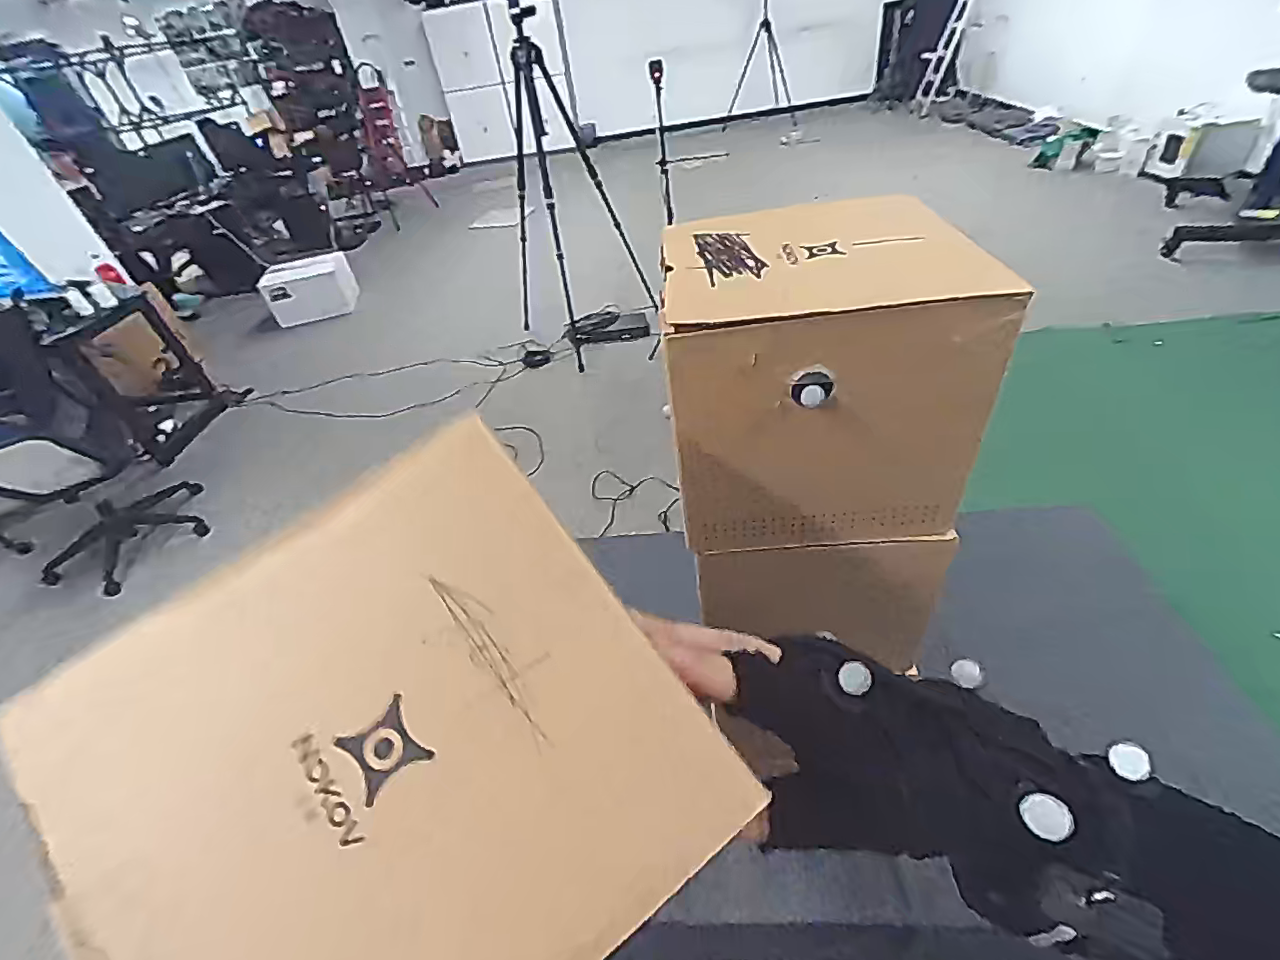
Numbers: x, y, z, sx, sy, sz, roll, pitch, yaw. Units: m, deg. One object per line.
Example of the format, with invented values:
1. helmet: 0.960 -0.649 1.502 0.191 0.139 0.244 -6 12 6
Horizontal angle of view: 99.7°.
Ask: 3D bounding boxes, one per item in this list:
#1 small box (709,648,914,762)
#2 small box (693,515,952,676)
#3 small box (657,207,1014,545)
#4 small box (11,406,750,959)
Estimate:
1. small box: 0.161 0.184 0.581 0.179 0.176 0.168 -5 40 6
2. small box: 0.137 0.057 0.480 0.179 0.176 0.168 -3 39 7
3. small box: 0.109 -0.069 0.378 0.179 0.176 0.168 -5 41 6
4. small box: -0.080 0.107 0.239 0.179 0.176 0.168 -35 74 -12
